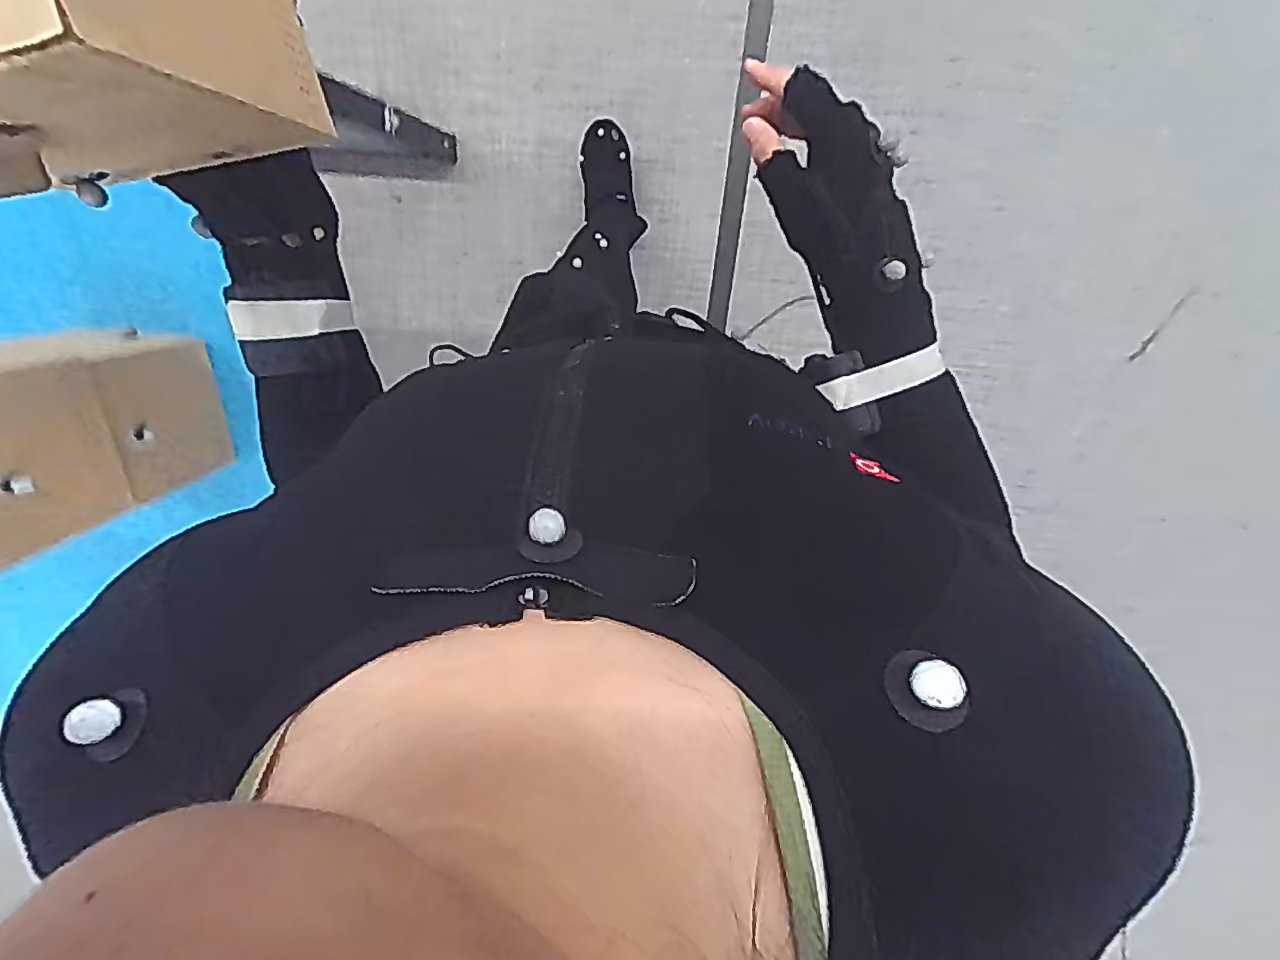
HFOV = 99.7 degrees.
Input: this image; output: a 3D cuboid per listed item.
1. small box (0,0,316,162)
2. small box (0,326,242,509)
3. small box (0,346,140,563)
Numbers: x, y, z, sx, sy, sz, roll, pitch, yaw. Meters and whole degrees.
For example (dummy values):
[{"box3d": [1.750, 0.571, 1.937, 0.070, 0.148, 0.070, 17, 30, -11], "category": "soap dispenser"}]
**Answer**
[{"box3d": [-0.271, -0.240, 0.212, 0.168, 0.176, 0.179, -9, 113, 3], "category": "small box"}, {"box3d": [-0.641, -0.084, 0.668, 0.168, 0.176, 0.179, 5, 114, 2], "category": "small box"}, {"box3d": [-0.646, -0.026, 0.516, 0.168, 0.176, 0.179, 1, 113, 4], "category": "small box"}]
